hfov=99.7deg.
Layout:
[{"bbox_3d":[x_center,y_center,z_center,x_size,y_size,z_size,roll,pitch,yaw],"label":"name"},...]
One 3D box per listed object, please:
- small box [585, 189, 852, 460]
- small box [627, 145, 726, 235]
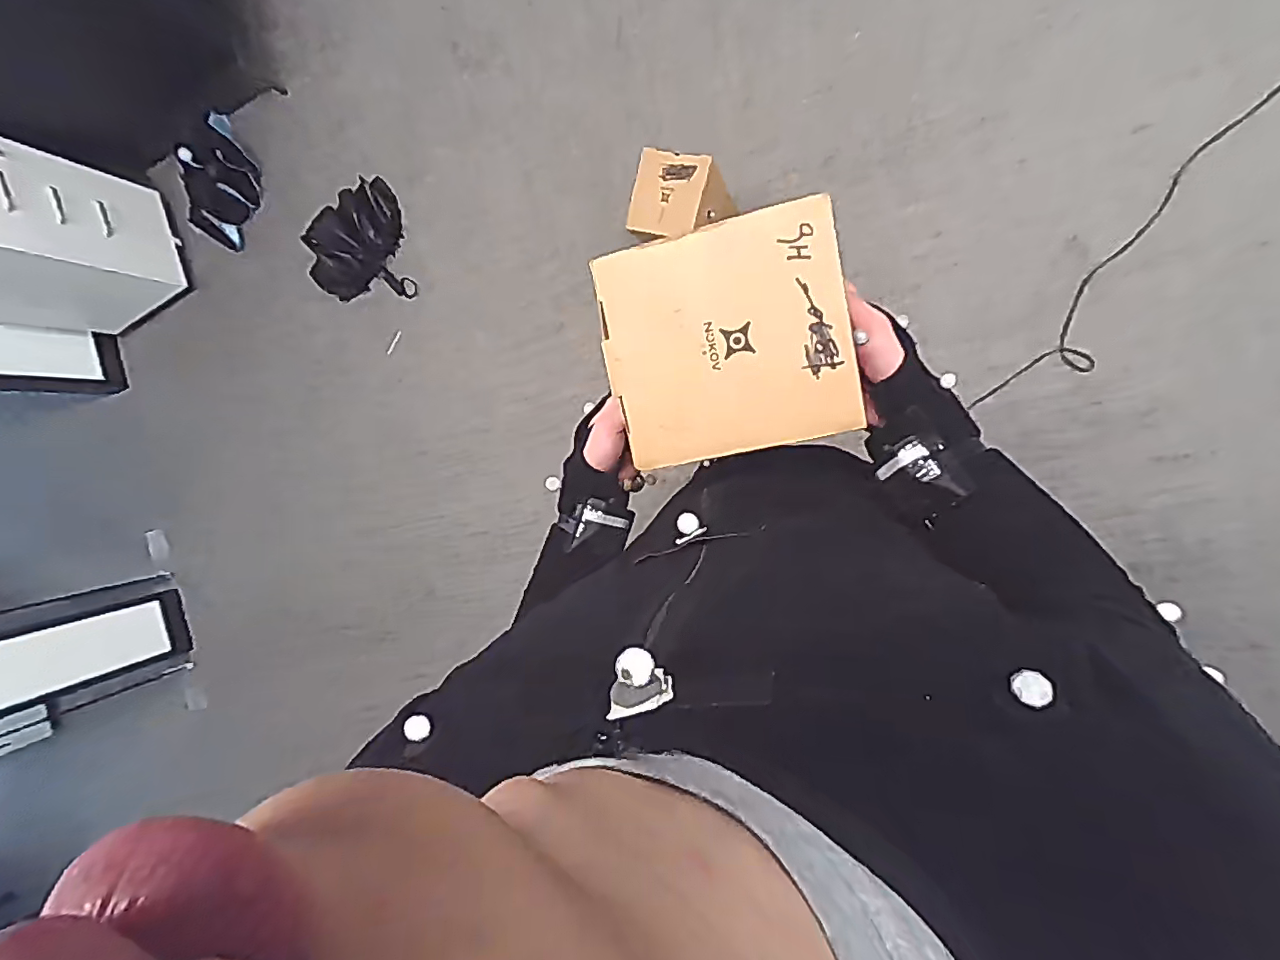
[{"bbox_3d":[0.073,-0.120,0.471,0.179,0.176,0.168,-9,99,14],"label":"small box"},{"bbox_3d":[0.093,-0.645,1.264,0.168,0.176,0.179,20,104,18],"label":"small box"}]
